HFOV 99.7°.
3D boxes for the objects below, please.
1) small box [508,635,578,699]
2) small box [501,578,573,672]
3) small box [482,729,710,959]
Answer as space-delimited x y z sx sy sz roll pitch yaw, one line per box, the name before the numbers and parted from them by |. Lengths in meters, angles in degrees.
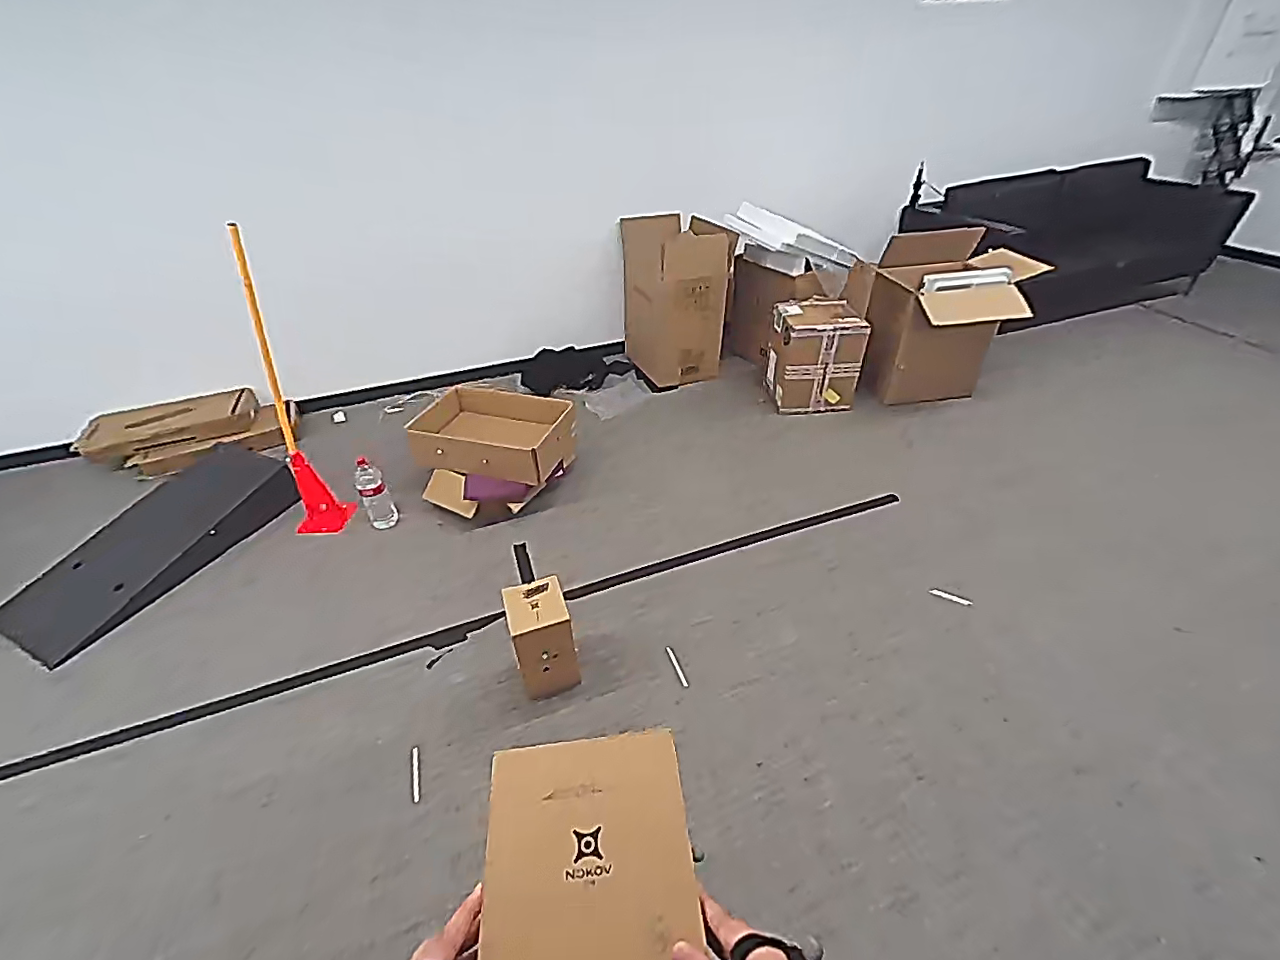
small box | -0.299 0.549 1.677 0.179 0.176 0.168 -13 39 -15
small box | -0.299 0.421 1.573 0.168 0.176 0.179 -14 40 -15
small box | -0.037 0.355 0.488 0.168 0.176 0.179 -5 41 -5
